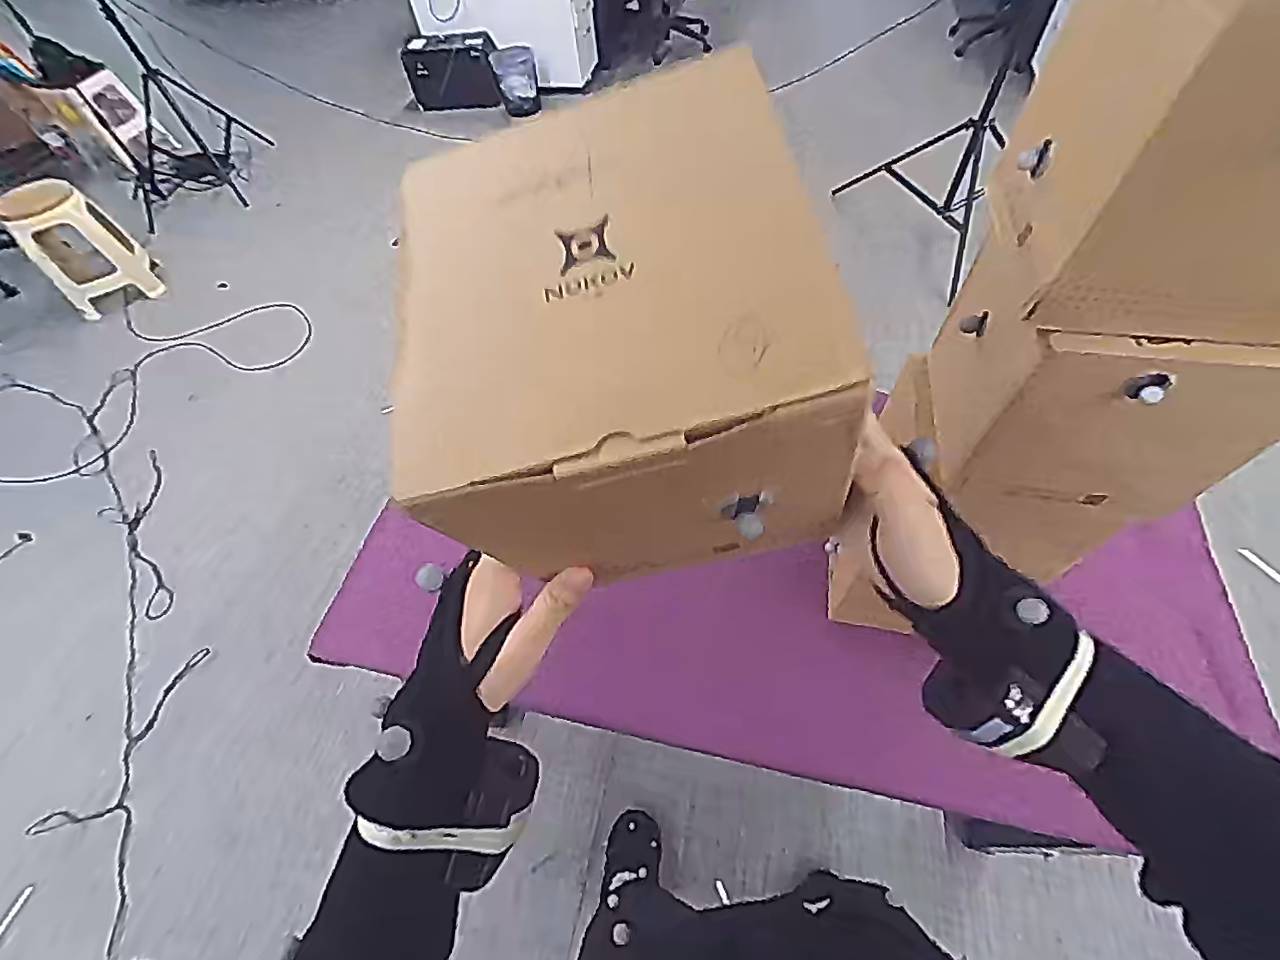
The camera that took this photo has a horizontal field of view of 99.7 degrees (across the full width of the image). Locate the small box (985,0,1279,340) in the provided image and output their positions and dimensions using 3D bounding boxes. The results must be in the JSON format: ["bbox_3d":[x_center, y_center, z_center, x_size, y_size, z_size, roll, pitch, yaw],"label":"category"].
[{"bbox_3d":[0.329,-0.195,0.296,0.179,0.176,0.168,7,57,10],"label":"small box"}]

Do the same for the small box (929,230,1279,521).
[{"bbox_3d":[0.345,-0.093,0.423,0.168,0.176,0.179,7,57,10],"label":"small box"}]

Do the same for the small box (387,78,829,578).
[{"bbox_3d":[-0.007,-0.054,0.291,0.168,0.176,0.179,-14,64,9],"label":"small box"}]

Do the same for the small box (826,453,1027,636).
[{"bbox_3d":[0.350,0.088,0.696,0.179,0.176,0.168,7,56,11],"label":"small box"}]
